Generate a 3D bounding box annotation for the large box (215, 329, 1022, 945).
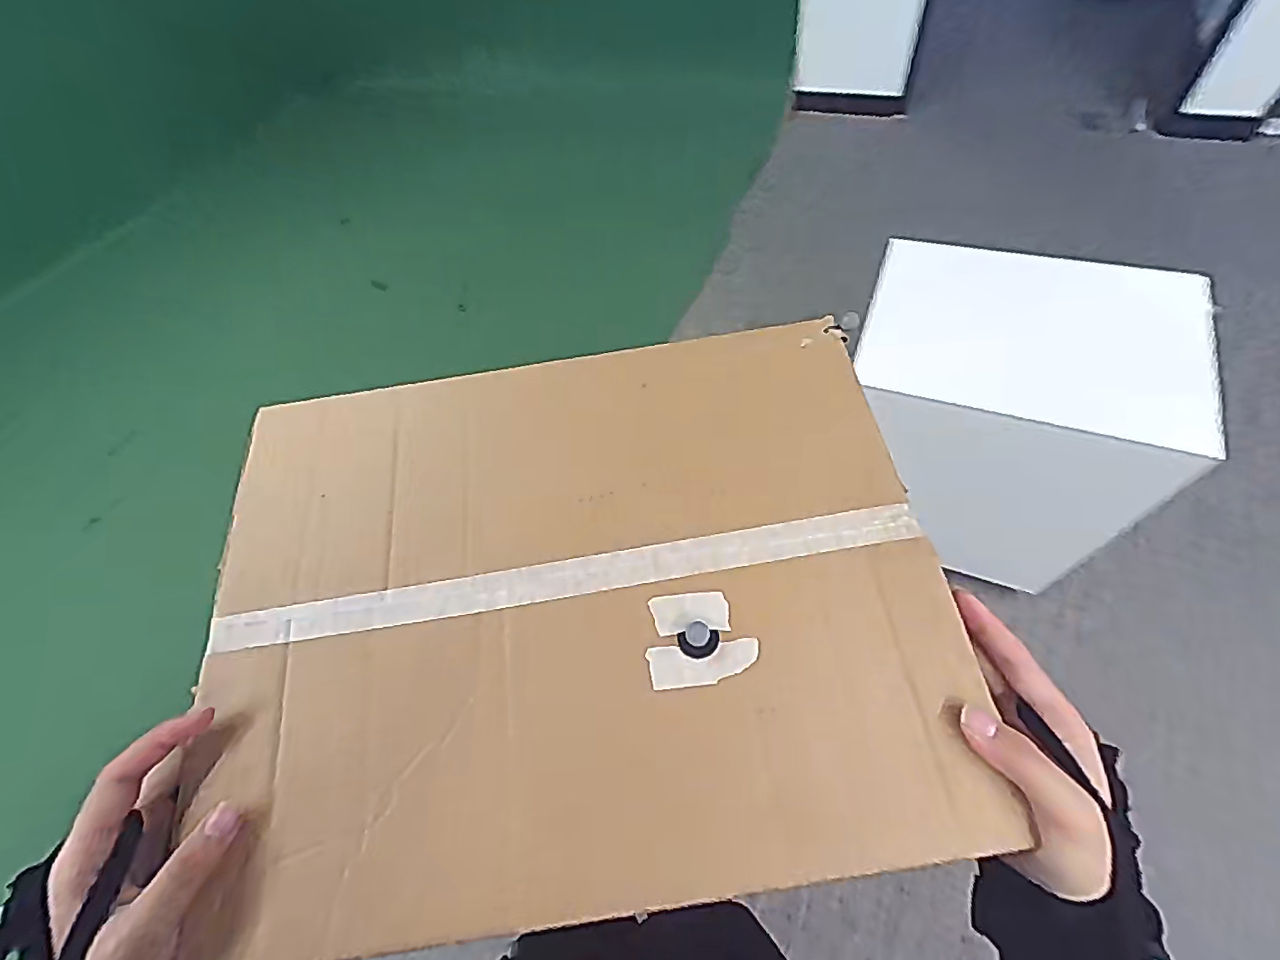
[{"bbox_3d":[-0.022,0.119,0.457,0.408,0.320,0.320,-8,65,-1],"label":"large box"}]
